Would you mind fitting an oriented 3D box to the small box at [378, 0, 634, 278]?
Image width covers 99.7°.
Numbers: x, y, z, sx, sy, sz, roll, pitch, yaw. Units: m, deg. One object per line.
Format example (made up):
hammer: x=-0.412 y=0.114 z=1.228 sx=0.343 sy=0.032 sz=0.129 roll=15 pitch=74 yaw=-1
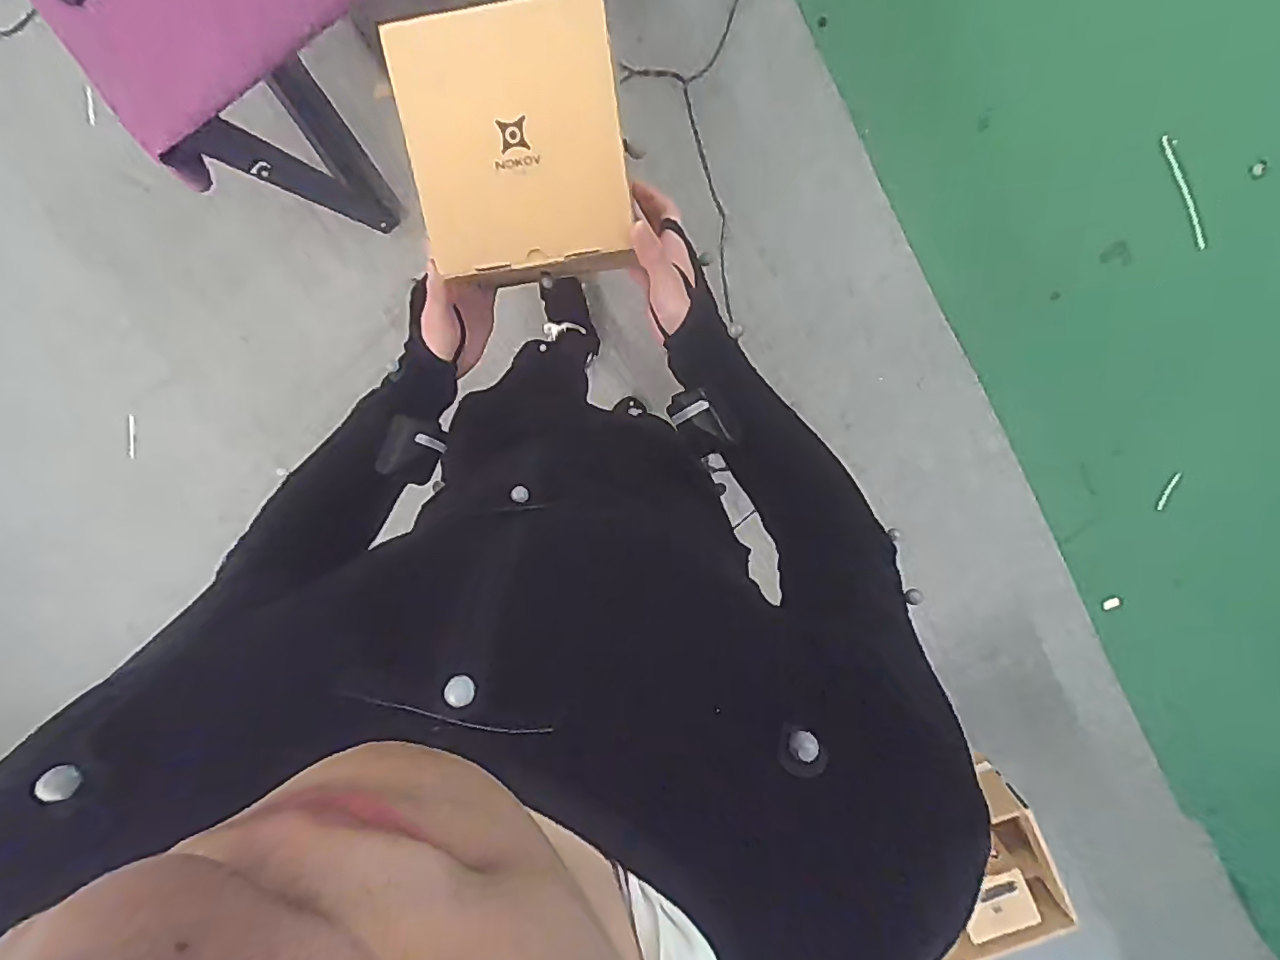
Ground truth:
small box: x=-0.098 y=-0.286 z=0.486 sx=0.168 sy=0.176 sz=0.179 roll=-7 pitch=109 yaw=4
